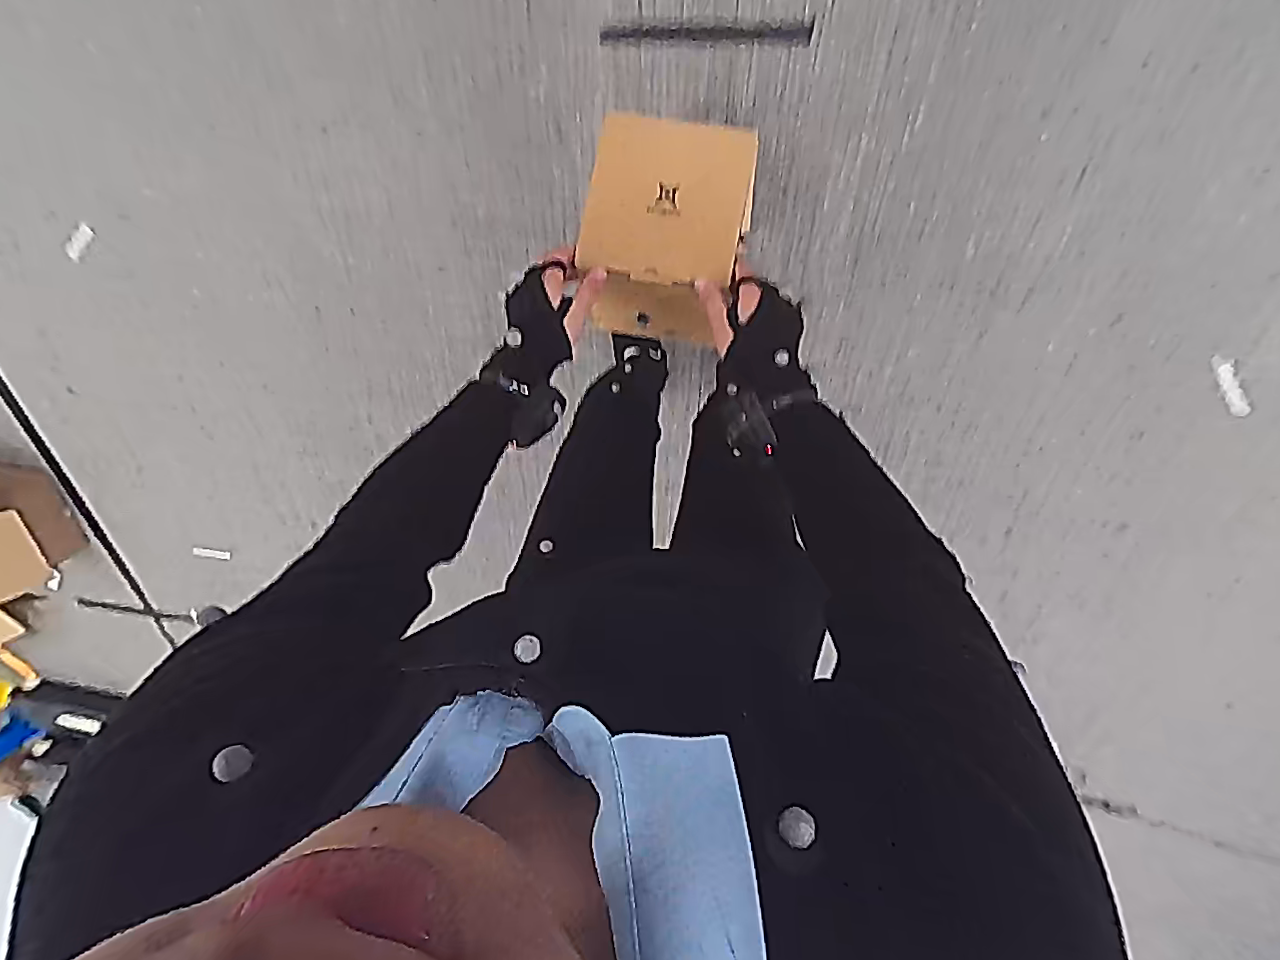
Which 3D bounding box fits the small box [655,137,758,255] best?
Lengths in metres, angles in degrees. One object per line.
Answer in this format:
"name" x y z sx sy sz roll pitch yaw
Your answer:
"small box" 0.121 -0.522 0.987 0.168 0.176 0.179 5 122 7
